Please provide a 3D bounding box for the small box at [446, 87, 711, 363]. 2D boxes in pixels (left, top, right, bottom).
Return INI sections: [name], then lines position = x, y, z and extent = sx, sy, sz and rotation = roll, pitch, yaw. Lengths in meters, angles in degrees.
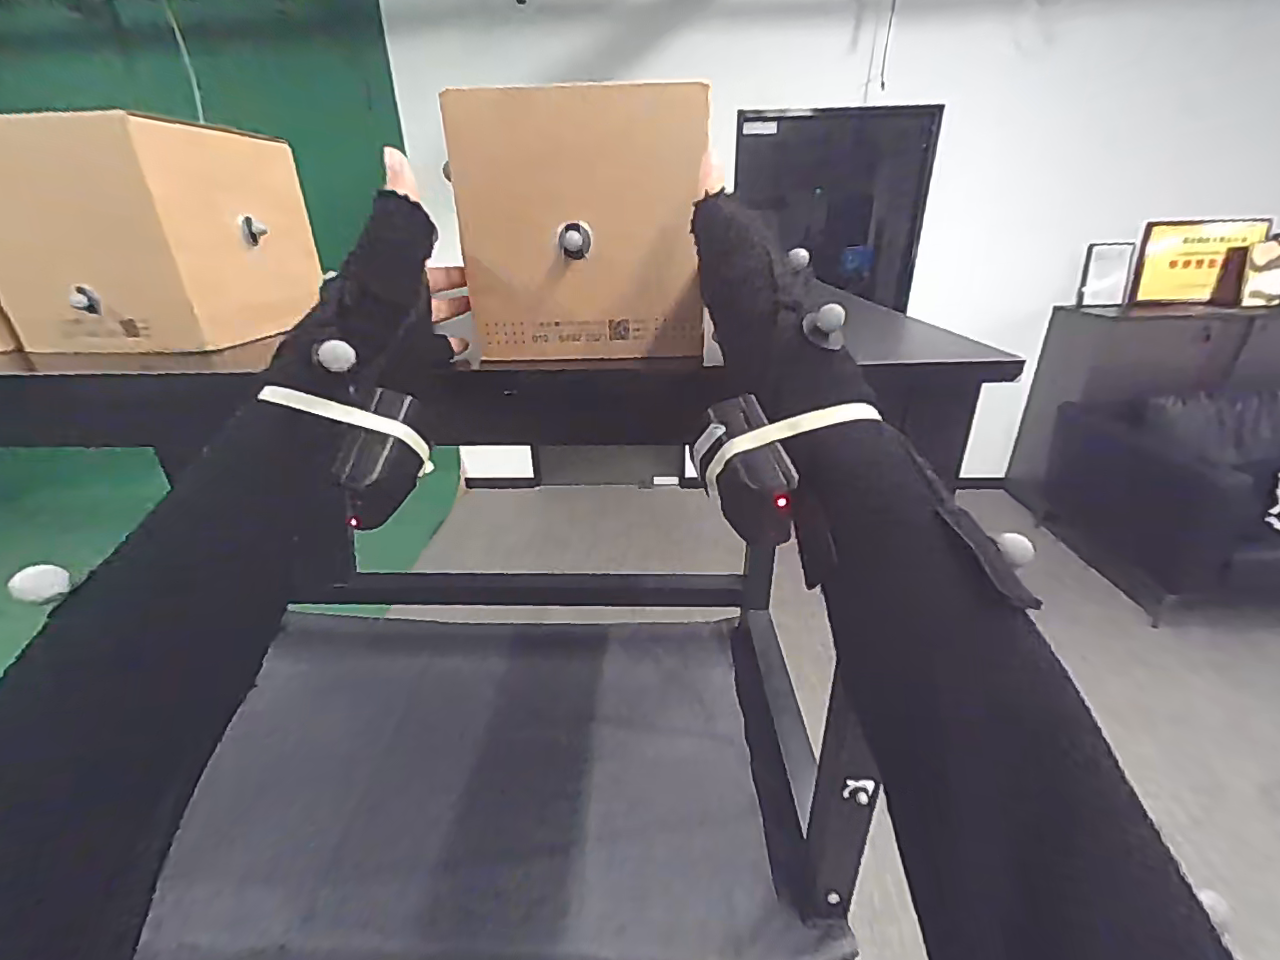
[small box]
position = -0.034, -0.193, 0.433
extent = 0.168, 0.176, 0.179
rotation = 0, 25, 1
